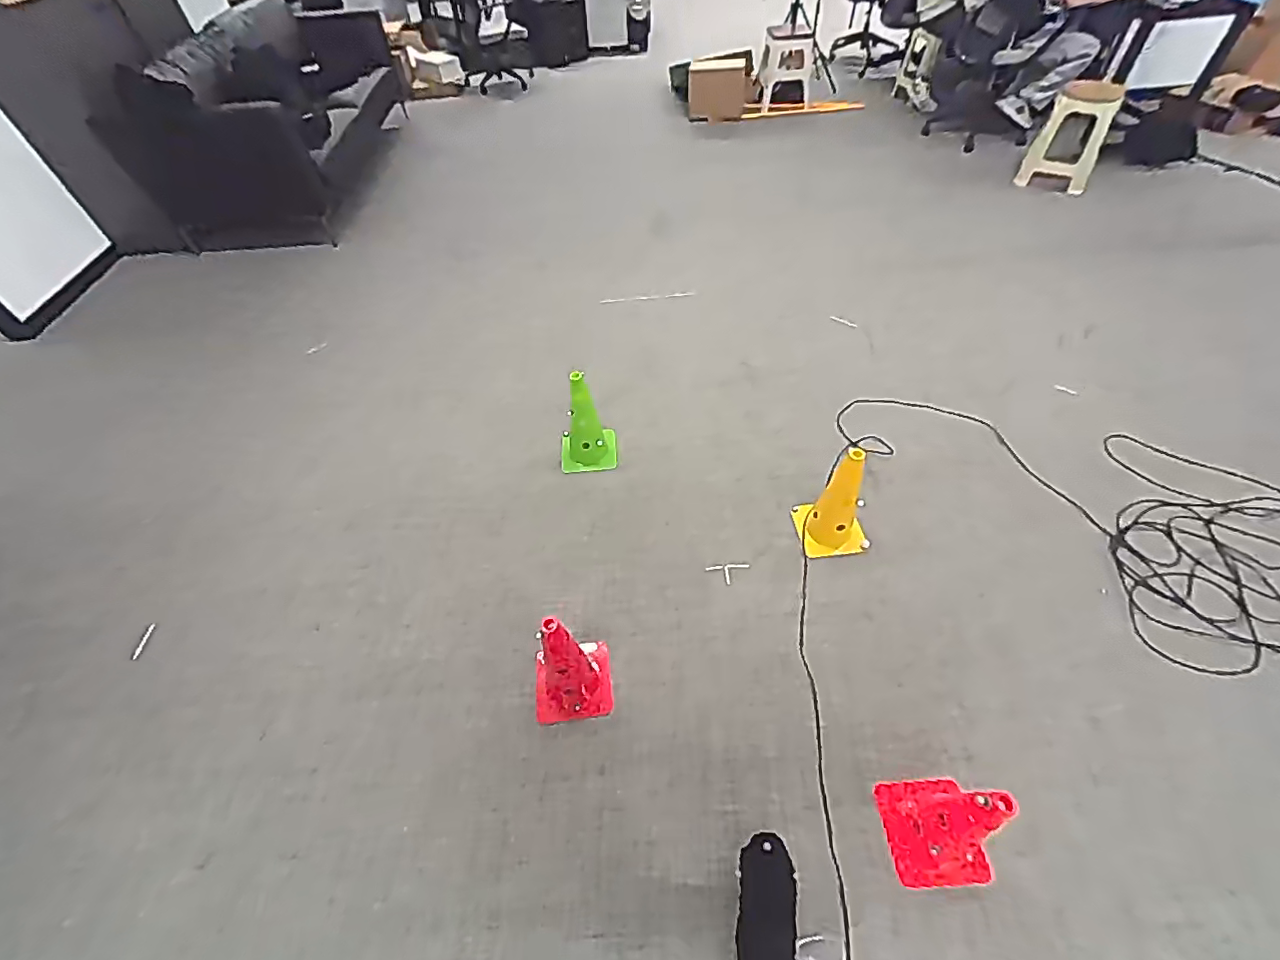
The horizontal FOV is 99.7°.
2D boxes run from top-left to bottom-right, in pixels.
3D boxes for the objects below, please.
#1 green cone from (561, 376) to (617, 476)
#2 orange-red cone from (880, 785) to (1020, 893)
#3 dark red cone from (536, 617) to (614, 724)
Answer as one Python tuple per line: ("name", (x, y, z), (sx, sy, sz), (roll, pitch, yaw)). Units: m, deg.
("green cone", (-0.194, -0.202, 1.866), (0.202, 0.368, 0.200), (-5, 50, -2))
("orange-red cone", (0.642, 0.676, 1.065), (0.198, 0.360, 0.199), (-3, 49, 0))
("dark red cone", (-0.182, 0.430, 1.302), (0.202, 0.394, 0.201), (-9, 51, -3))
